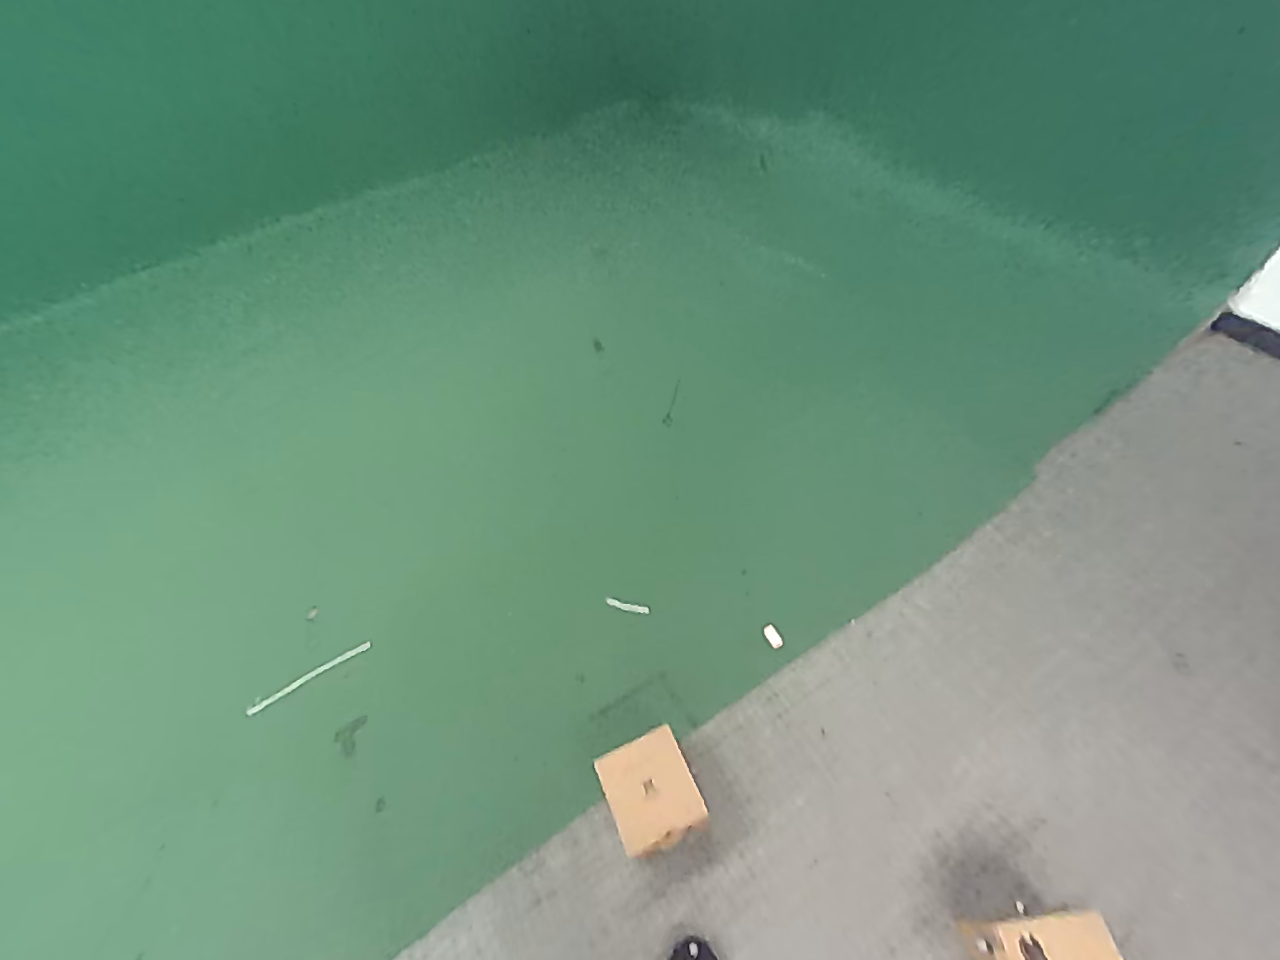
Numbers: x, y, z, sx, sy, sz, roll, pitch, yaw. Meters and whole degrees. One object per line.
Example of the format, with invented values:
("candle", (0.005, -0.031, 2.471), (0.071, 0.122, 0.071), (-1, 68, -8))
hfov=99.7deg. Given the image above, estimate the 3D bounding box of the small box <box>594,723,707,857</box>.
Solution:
("small box", (0.024, 0.625, 1.088), (0.168, 0.176, 0.179), (-23, 55, -11))
